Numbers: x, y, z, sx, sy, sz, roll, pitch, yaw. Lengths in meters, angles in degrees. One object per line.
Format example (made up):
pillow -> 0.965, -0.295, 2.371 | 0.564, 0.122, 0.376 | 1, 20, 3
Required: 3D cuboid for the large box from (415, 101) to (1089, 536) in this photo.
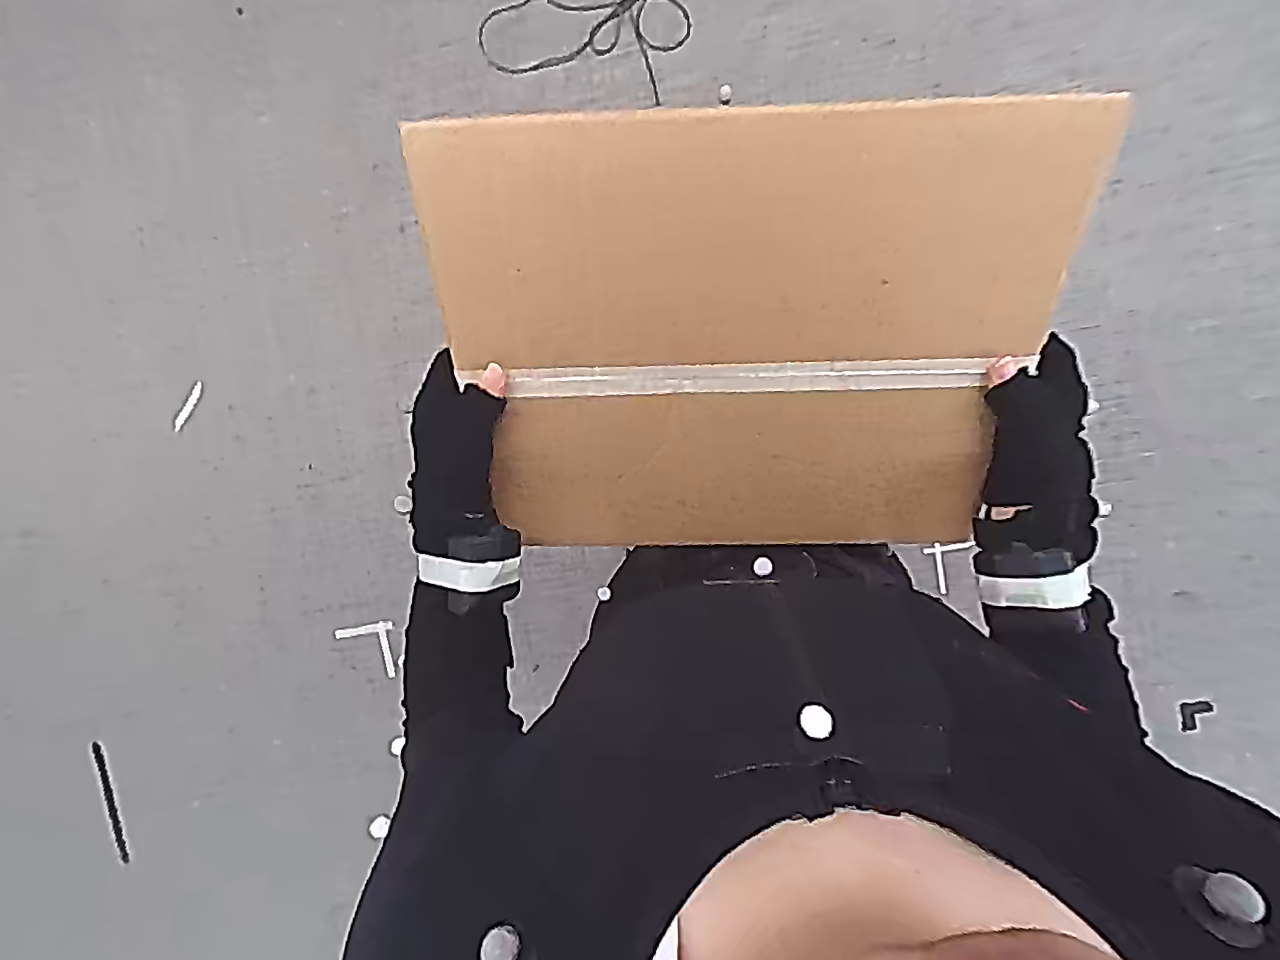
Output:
large box -> 0.072, -0.165, 0.522 | 0.408, 0.320, 0.320 | -1, 124, 2
